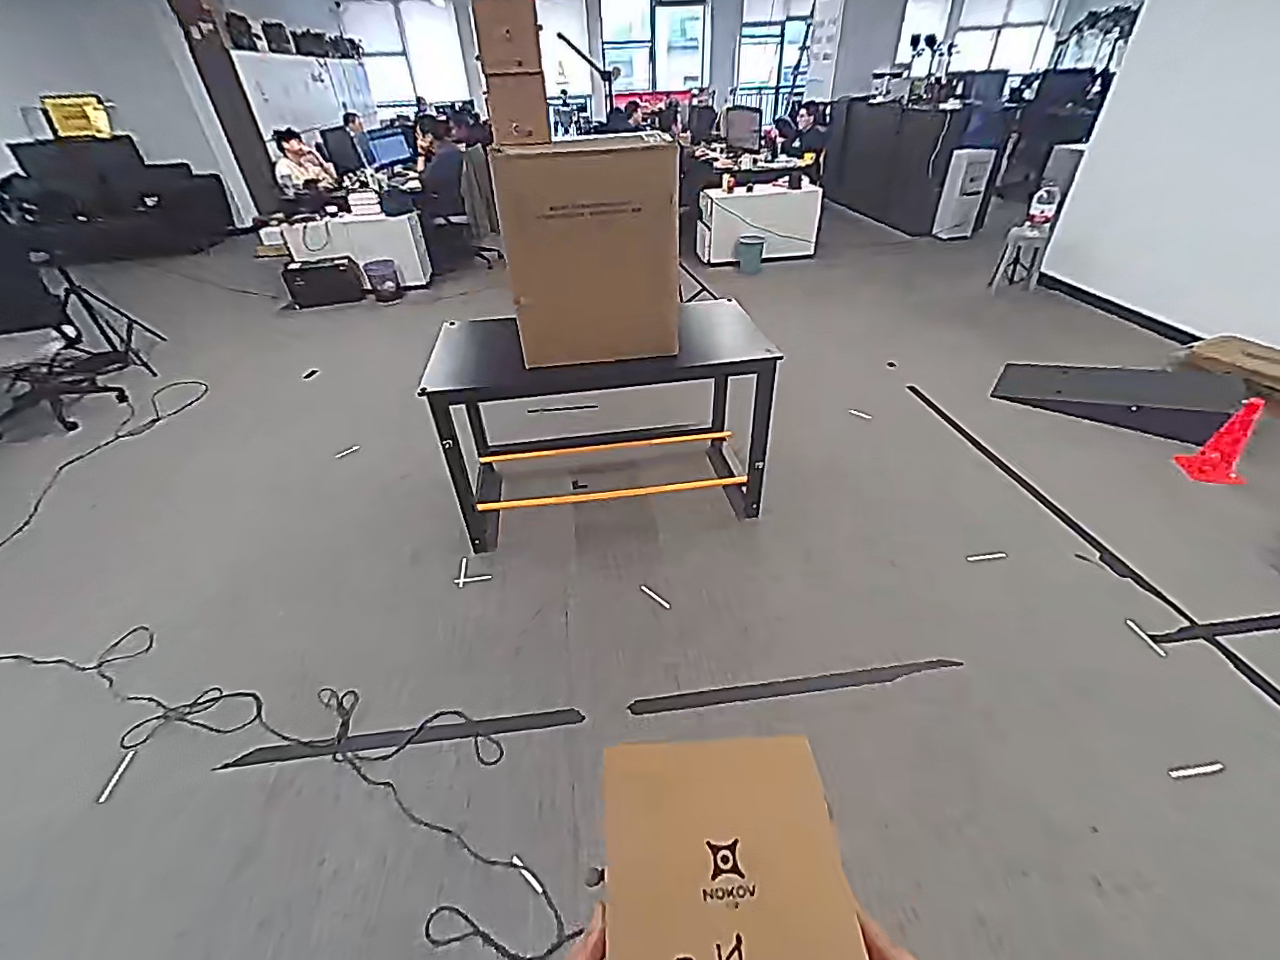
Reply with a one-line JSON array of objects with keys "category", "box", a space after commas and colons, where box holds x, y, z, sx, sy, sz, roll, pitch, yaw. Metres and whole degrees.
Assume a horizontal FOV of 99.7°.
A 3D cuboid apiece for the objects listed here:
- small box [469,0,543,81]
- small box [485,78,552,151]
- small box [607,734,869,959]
[{"category": "small box", "box": [-0.361, -1.197, 1.480, 0.168, 0.176, 0.179, -8, 37, -7]}, {"category": "small box", "box": [-0.355, -1.074, 1.590, 0.168, 0.176, 0.179, -10, 38, -8]}, {"category": "small box", "box": [0.057, 0.324, 0.426, 0.168, 0.176, 0.179, -2, 45, -3]}]
